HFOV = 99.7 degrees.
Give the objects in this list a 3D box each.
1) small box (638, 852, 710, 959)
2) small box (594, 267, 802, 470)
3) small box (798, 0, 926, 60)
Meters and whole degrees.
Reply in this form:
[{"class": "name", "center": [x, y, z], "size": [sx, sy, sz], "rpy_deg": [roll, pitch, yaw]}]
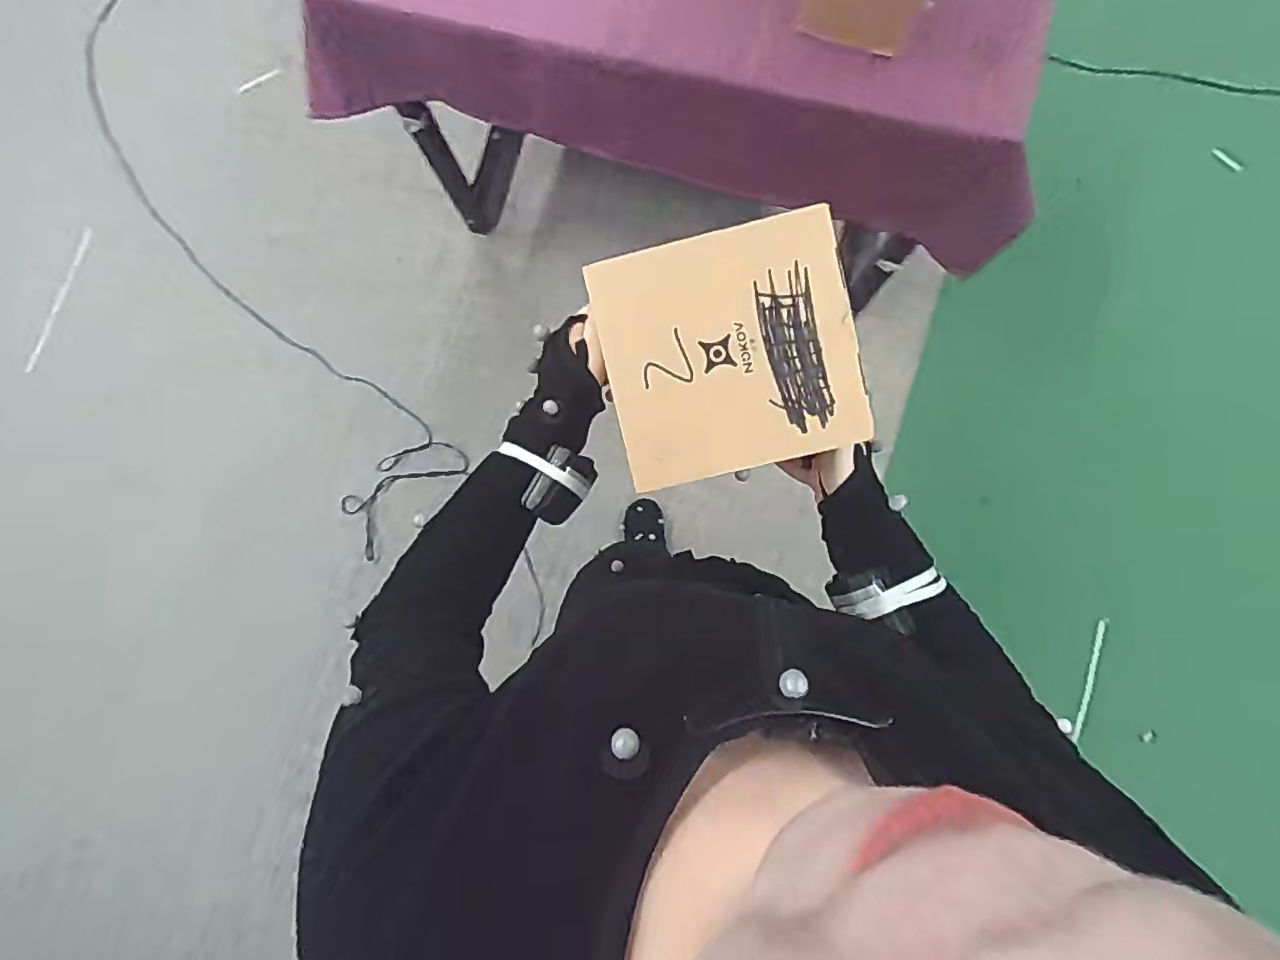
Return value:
[{"class": "small box", "center": [0.080, 1.046, 1.324], "size": [0.168, 0.176, 0.179], "rpy_deg": [0, 83, 2]}, {"class": "small box", "center": [0.062, -0.114, 0.623], "size": [0.179, 0.176, 0.168], "rpy_deg": [-18, 93, 3]}, {"class": "small box", "center": [0.354, -0.774, 0.796], "size": [0.179, 0.176, 0.168], "rpy_deg": [21, 85, 4]}]
